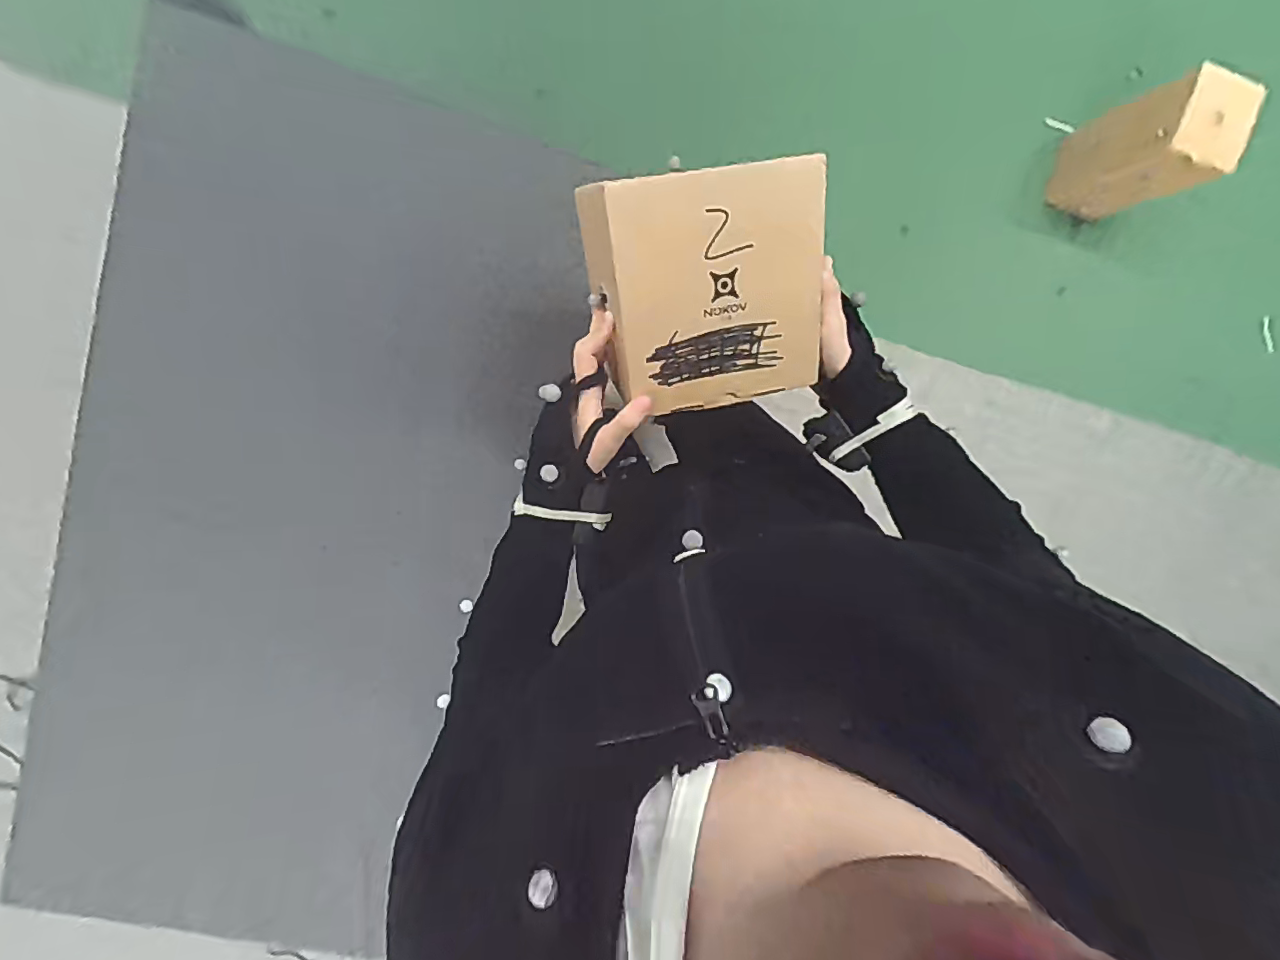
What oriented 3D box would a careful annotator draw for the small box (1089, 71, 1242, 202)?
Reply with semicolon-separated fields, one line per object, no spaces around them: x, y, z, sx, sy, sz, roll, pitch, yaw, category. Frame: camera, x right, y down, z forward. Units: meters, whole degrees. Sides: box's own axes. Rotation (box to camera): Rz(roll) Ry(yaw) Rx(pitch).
1.194;-0.777;1.243;0.168;0.176;0.179;14;97;-9;small box

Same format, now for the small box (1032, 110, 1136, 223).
1.172;-0.801;1.402;0.168;0.176;0.179;15;97;-9;small box
